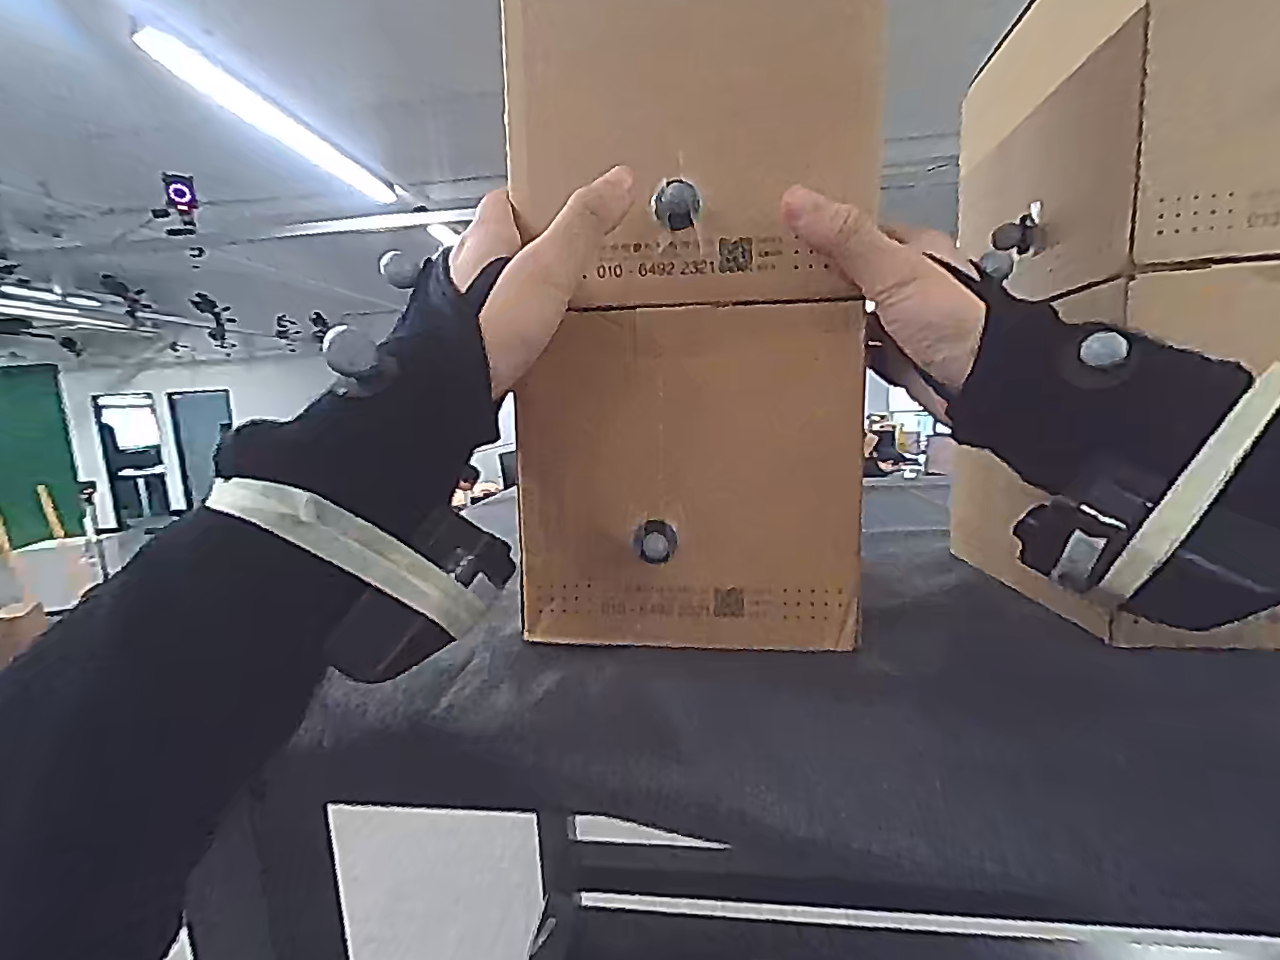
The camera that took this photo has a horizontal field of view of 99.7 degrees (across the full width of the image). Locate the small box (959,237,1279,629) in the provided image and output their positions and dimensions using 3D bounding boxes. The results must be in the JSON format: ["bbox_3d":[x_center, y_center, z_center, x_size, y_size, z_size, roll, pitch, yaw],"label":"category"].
[{"bbox_3d":[0.300,-0.024,0.305,0.168,0.176,0.179,-2,6,8],"label":"small box"}]

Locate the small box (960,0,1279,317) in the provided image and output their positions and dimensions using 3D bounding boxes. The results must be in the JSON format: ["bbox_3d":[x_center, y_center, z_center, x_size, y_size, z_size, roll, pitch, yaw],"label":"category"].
[{"bbox_3d":[0.295,-0.188,0.289,0.168,0.176,0.179,-1,7,8],"label":"small box"}]

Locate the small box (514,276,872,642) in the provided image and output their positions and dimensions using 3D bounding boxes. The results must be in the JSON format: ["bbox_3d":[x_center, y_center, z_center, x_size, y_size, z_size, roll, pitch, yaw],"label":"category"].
[{"bbox_3d":[0.029,-0.015,0.333,0.168,0.176,0.179,-1,6,5],"label":"small box"}]
